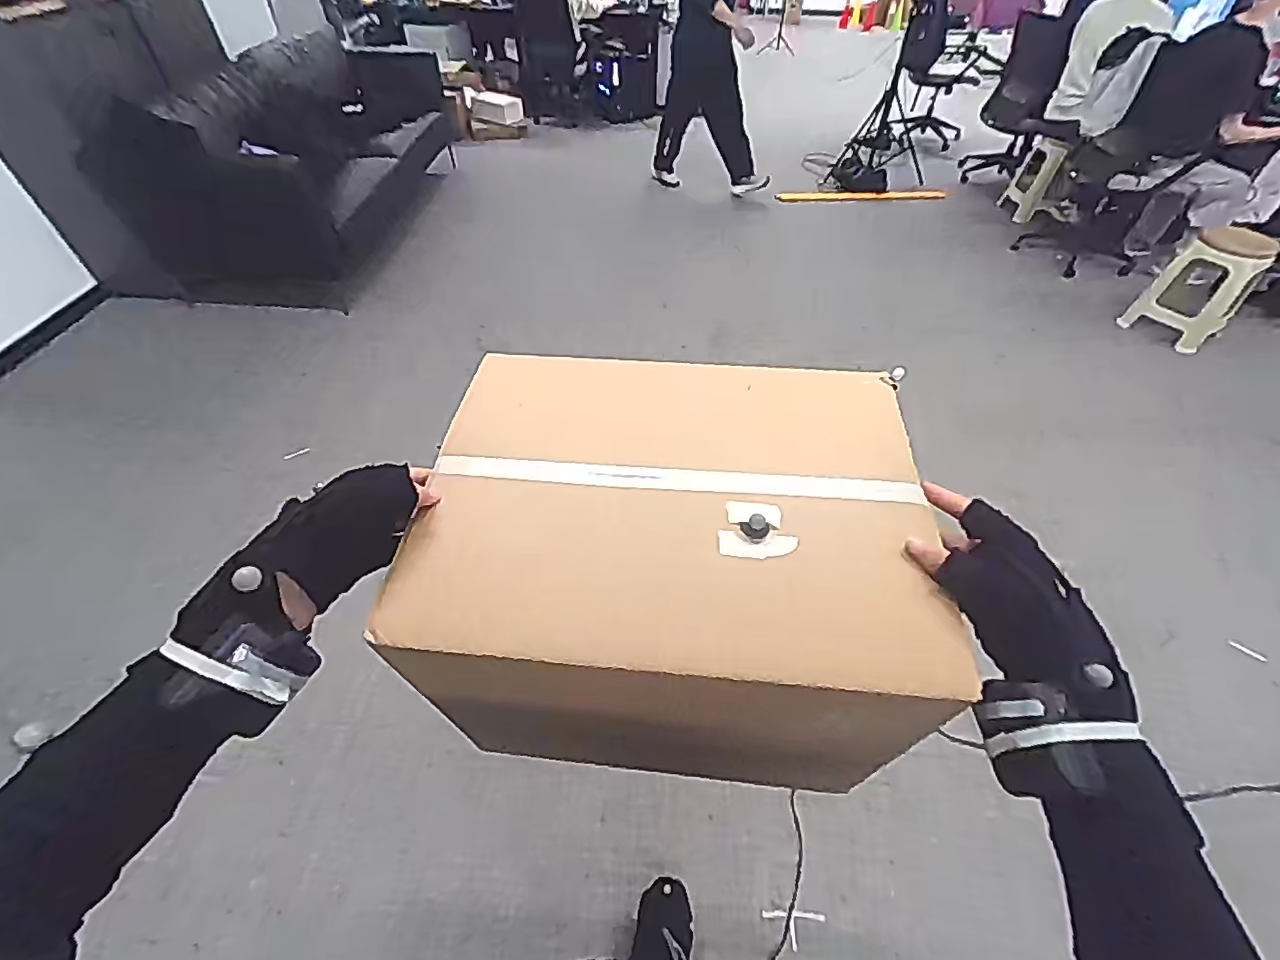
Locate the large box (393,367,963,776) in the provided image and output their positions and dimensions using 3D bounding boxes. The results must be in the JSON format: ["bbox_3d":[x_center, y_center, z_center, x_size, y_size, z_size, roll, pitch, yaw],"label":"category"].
[{"bbox_3d":[0.034,0.100,0.578,0.408,0.320,0.320,3,52,5],"label":"large box"}]
